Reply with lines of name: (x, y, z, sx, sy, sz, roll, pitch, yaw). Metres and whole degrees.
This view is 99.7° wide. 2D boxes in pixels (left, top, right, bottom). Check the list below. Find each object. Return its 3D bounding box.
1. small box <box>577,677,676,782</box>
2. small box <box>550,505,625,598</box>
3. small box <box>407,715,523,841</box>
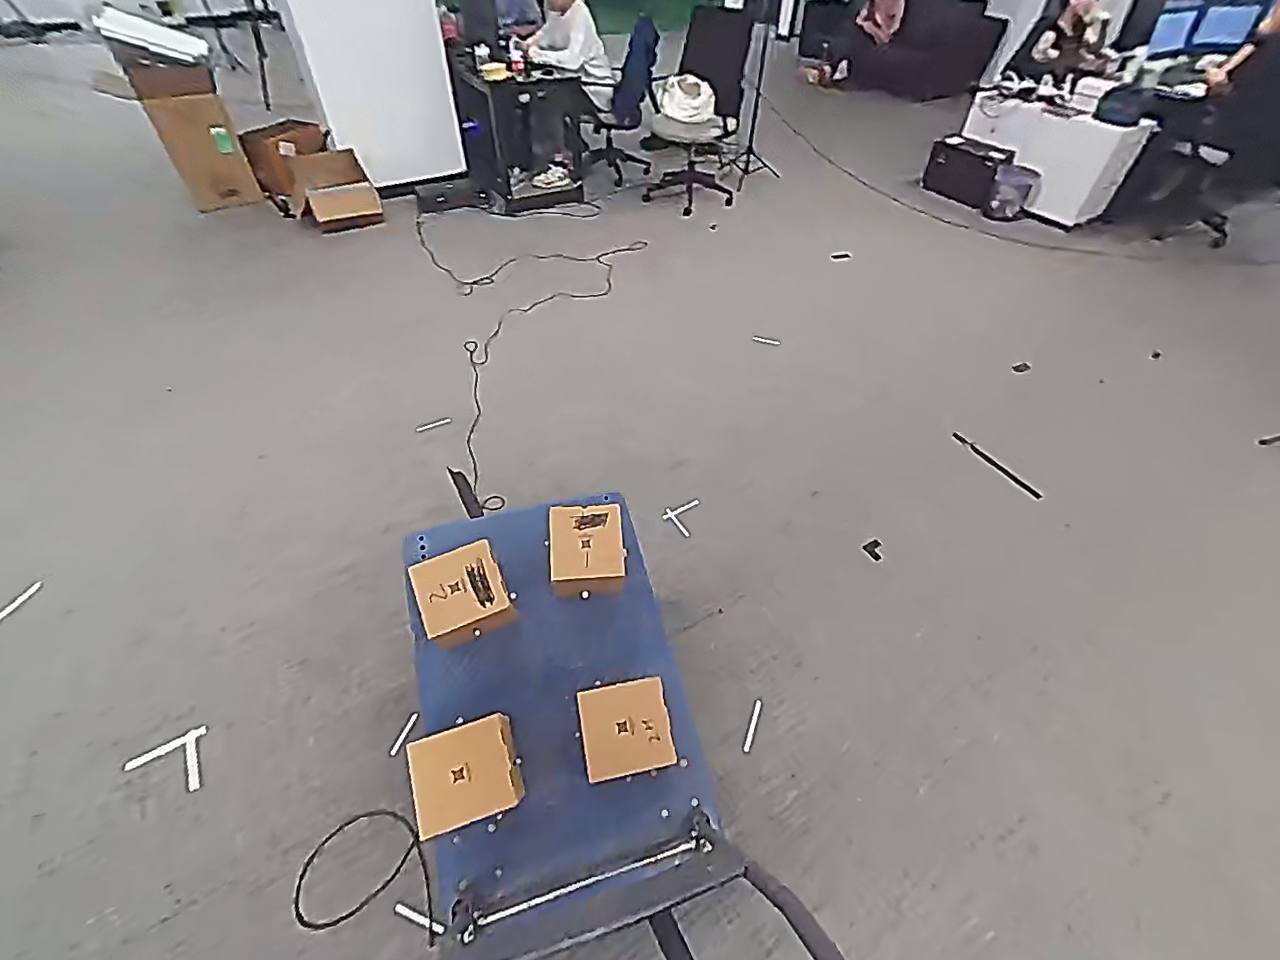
small box: (-0.035, 0.523, 1.136, 0.179, 0.176, 0.168, -8, 66, -10)
small box: (-0.131, 0.173, 1.294, 0.168, 0.176, 0.179, -2, 66, -8)
small box: (-0.339, 0.584, 1.072, 0.179, 0.176, 0.168, -14, 67, -15)
